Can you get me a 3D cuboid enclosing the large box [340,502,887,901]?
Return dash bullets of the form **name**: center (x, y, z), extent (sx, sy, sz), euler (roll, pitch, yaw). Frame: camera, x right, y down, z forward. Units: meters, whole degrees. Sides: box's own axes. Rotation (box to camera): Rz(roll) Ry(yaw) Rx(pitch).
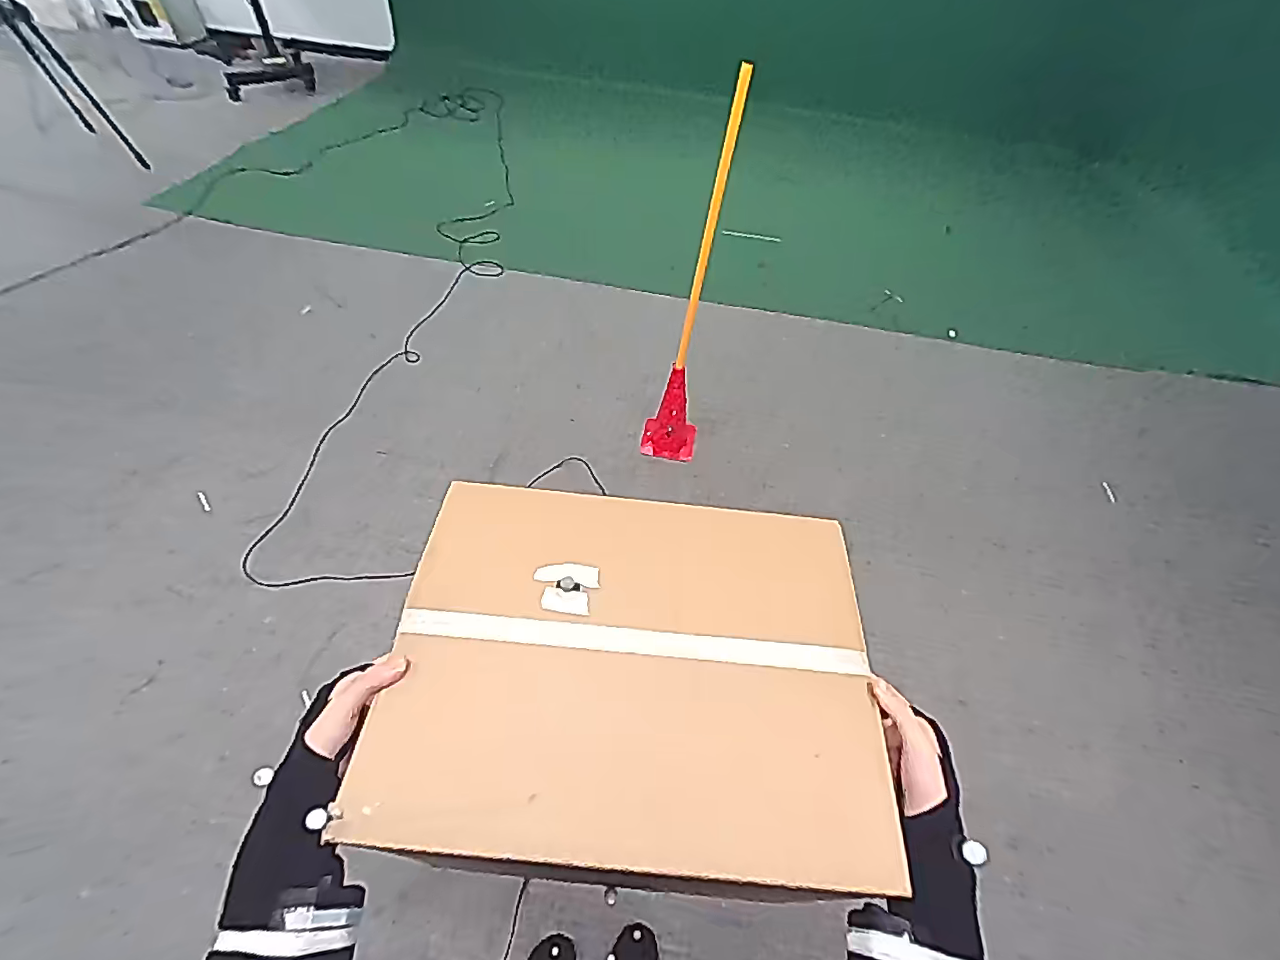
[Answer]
- **large box**: center (-0.014, 0.250, 0.594), extent (0.408, 0.320, 0.320), euler (6, 51, 0)
